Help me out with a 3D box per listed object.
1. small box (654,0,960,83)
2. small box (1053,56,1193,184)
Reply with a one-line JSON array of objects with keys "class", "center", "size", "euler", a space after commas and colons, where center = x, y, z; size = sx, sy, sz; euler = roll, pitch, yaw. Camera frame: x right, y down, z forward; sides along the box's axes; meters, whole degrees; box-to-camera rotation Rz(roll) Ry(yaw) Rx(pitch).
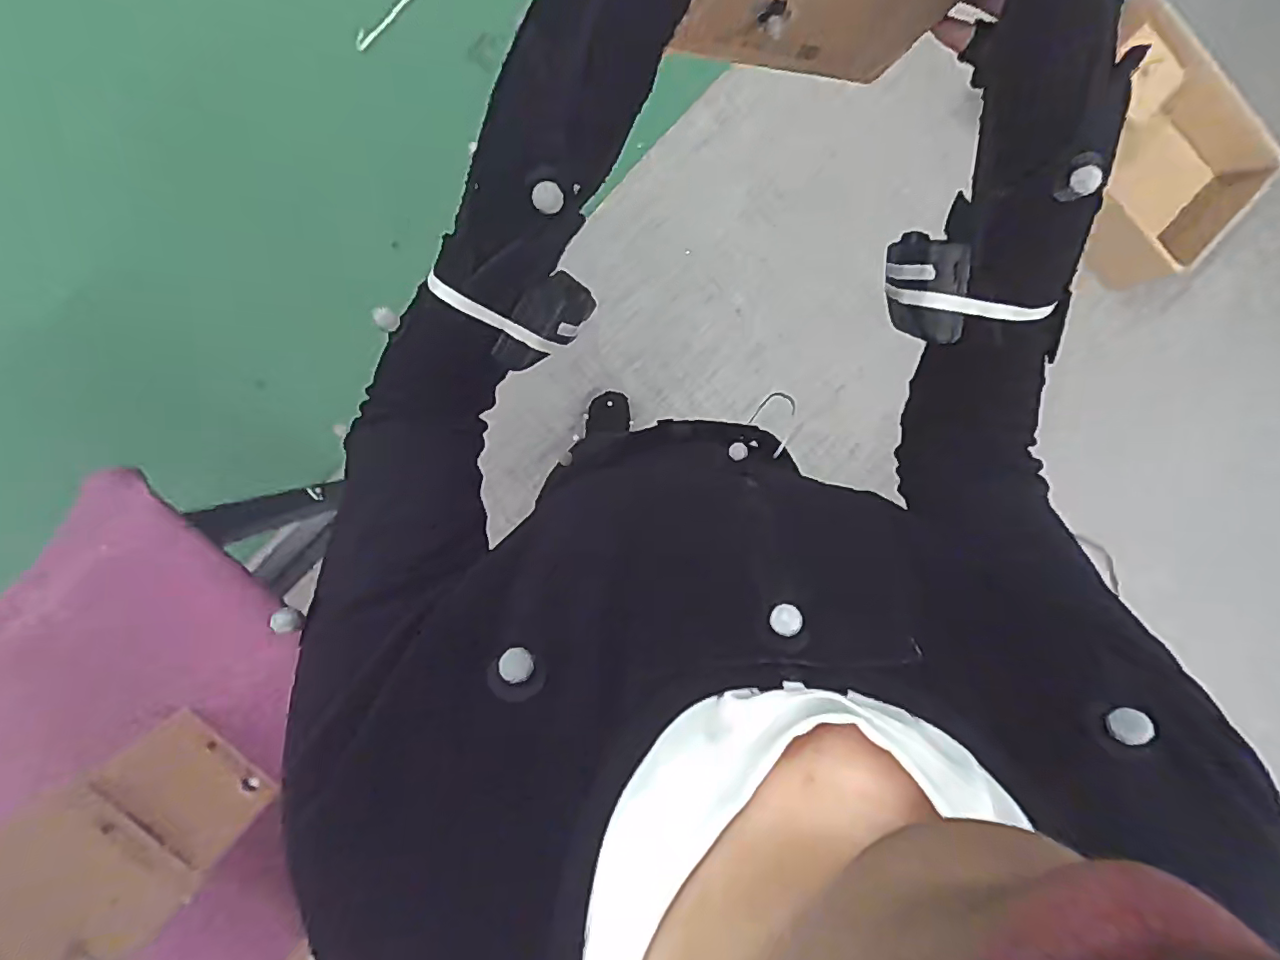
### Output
[{"class": "small box", "center": [0.105, -0.352, 0.276], "size": [0.168, 0.176, 0.179], "euler": [3, 102, -9]}, {"class": "small box", "center": [1.221, -0.908, 1.379], "size": [0.179, 0.176, 0.168], "euler": [-43, 98, -1]}]
